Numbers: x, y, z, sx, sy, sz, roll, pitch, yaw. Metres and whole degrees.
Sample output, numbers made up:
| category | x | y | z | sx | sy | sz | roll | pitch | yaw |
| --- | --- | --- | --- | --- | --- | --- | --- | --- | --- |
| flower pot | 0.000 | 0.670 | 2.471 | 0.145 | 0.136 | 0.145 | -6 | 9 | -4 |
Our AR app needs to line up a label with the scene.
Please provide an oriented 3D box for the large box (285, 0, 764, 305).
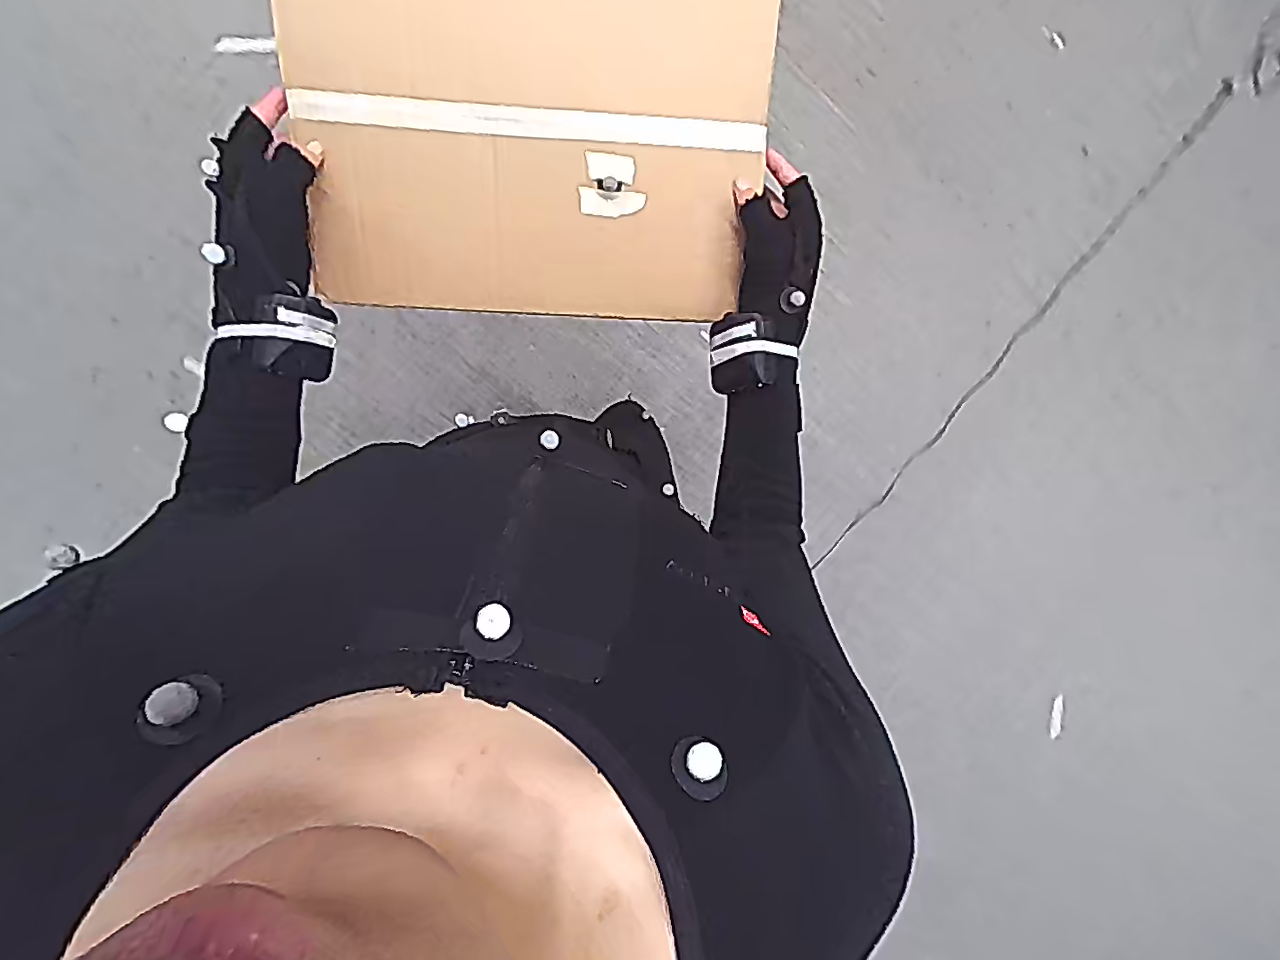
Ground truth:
| category | x | y | z | sx | sy | sz | roll | pitch | yaw |
| --- | --- | --- | --- | --- | --- | --- | --- | --- | --- |
| large box | -0.106 | -0.367 | 0.619 | 0.408 | 0.320 | 0.320 | 0 | 110 | -5 |
